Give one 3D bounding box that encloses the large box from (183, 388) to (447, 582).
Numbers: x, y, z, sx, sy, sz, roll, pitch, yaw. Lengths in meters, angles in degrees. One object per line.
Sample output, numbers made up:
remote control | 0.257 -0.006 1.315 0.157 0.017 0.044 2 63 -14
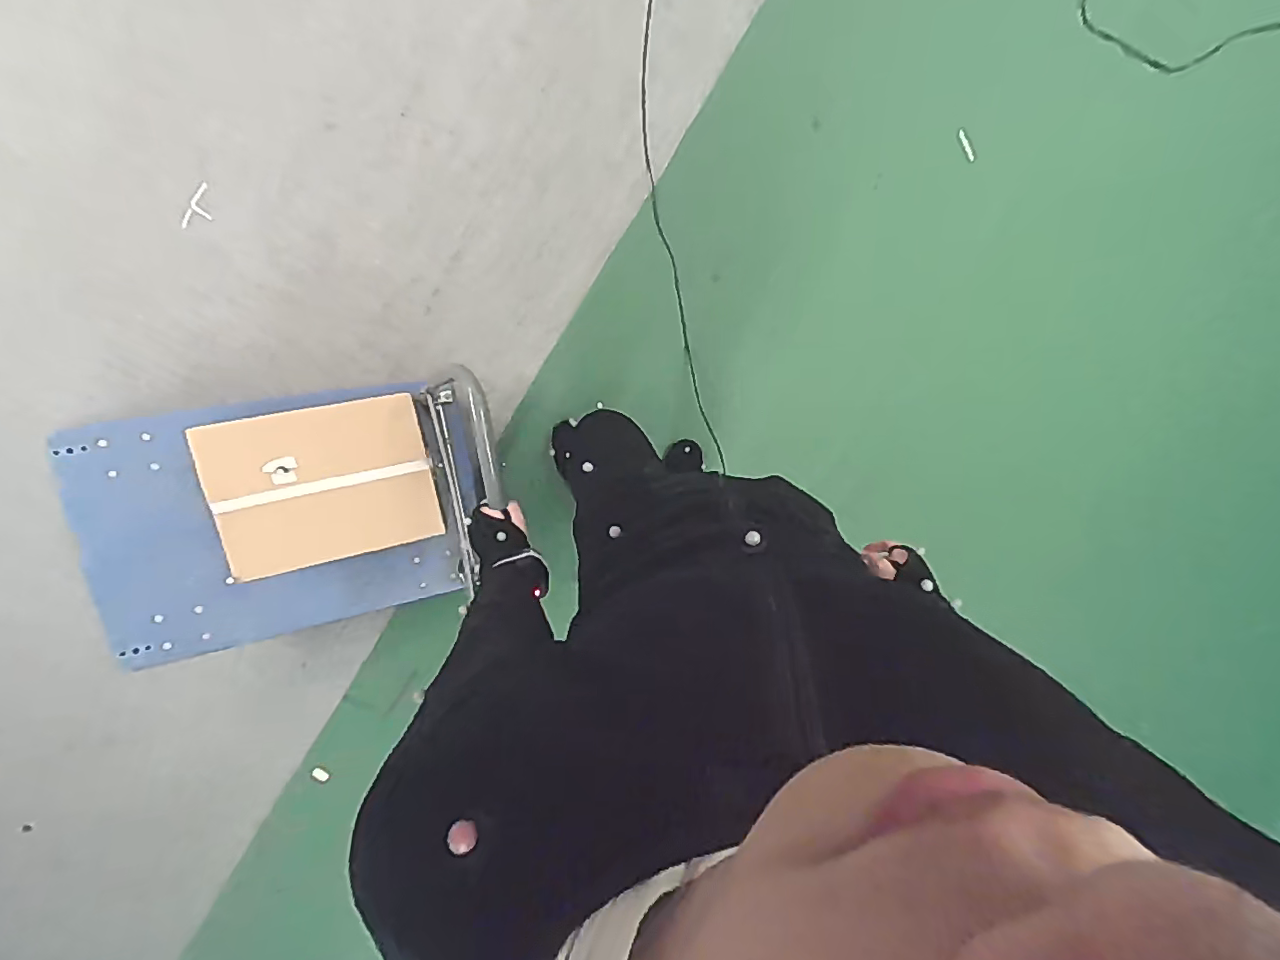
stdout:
large box | -0.682 -0.012 1.224 0.408 0.320 0.320 -14 100 -17
